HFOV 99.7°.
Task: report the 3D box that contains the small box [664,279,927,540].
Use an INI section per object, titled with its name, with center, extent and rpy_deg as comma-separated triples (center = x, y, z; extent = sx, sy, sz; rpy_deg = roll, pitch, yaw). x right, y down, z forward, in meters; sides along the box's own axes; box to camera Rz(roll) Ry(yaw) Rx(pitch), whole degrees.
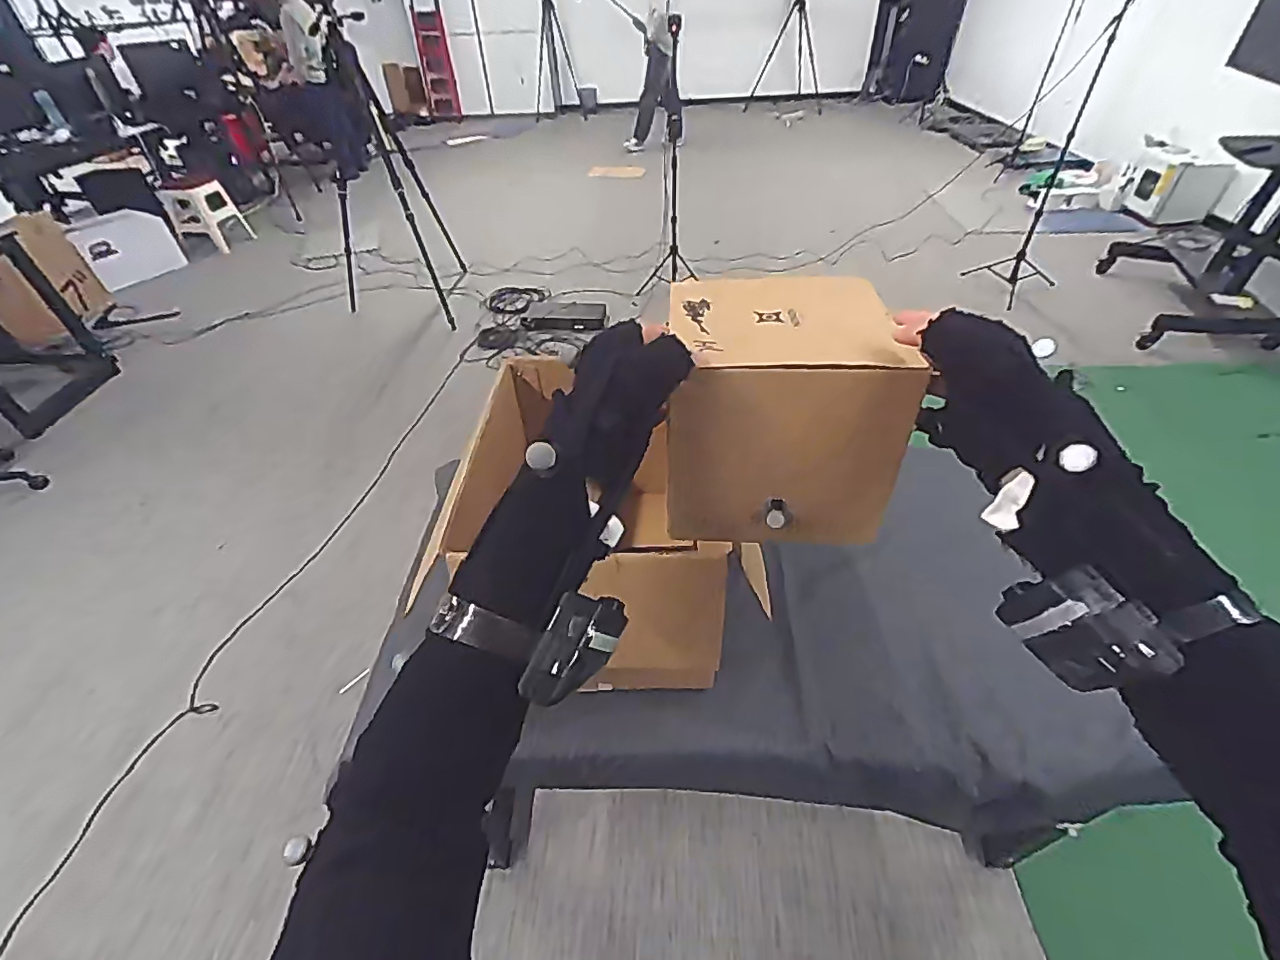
[small box]
center = 0.113, -0.062, 0.475
extent = 0.179, 0.176, 0.168
rpy_deg = 1, 40, 4
